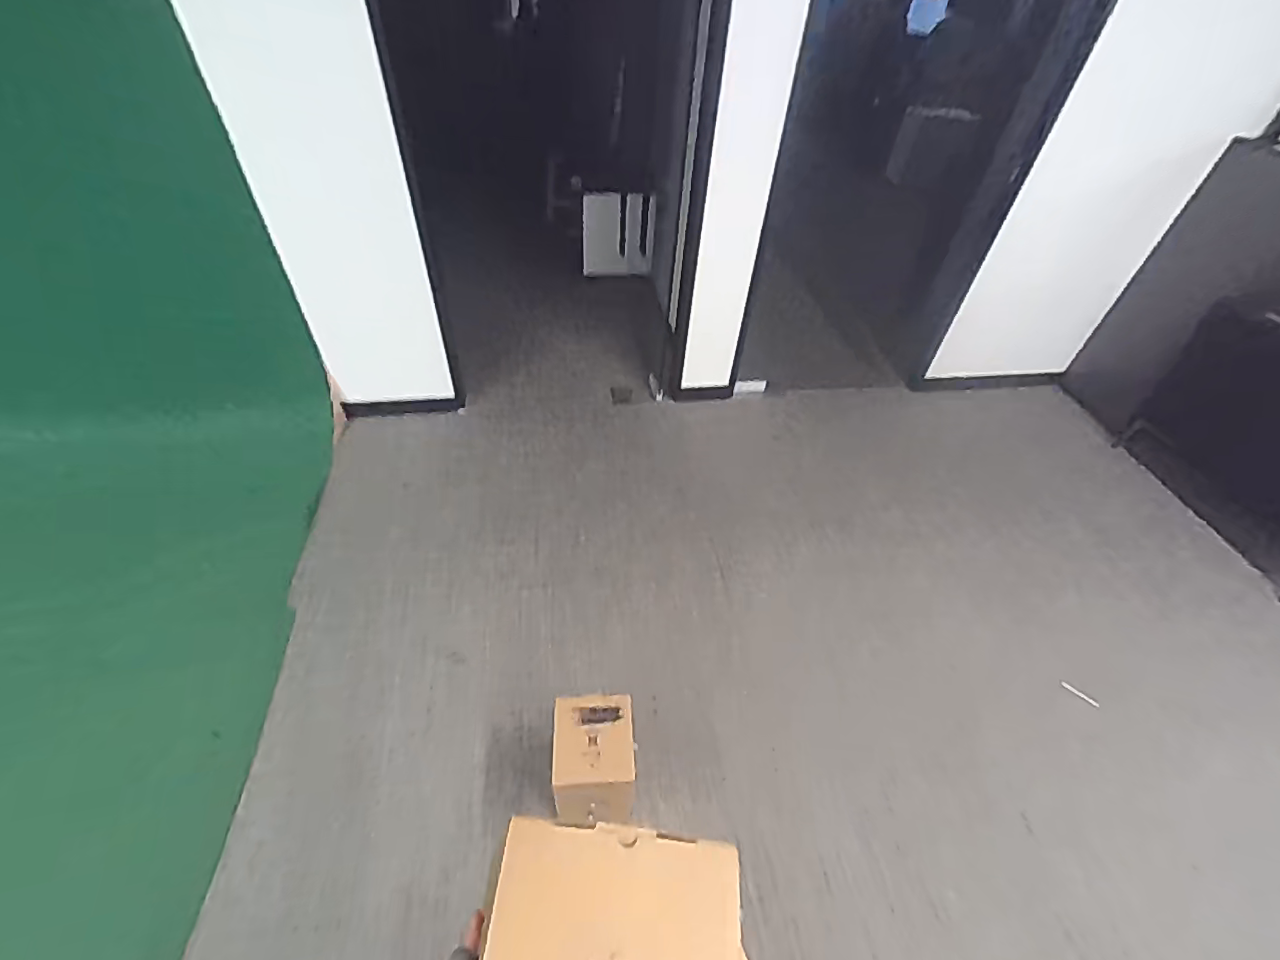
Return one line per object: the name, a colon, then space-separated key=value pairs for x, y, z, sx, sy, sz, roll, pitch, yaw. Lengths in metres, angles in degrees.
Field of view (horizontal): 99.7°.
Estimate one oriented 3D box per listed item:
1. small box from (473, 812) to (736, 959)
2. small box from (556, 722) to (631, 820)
small box: x=-0.037 y=0.361 z=0.391 sx=0.168 sy=0.176 sz=0.179 roll=12 pitch=50 yaw=-8
small box: x=-0.107 y=0.702 z=1.298 sx=0.168 sy=0.176 sz=0.179 roll=2 pitch=46 yaw=-3
